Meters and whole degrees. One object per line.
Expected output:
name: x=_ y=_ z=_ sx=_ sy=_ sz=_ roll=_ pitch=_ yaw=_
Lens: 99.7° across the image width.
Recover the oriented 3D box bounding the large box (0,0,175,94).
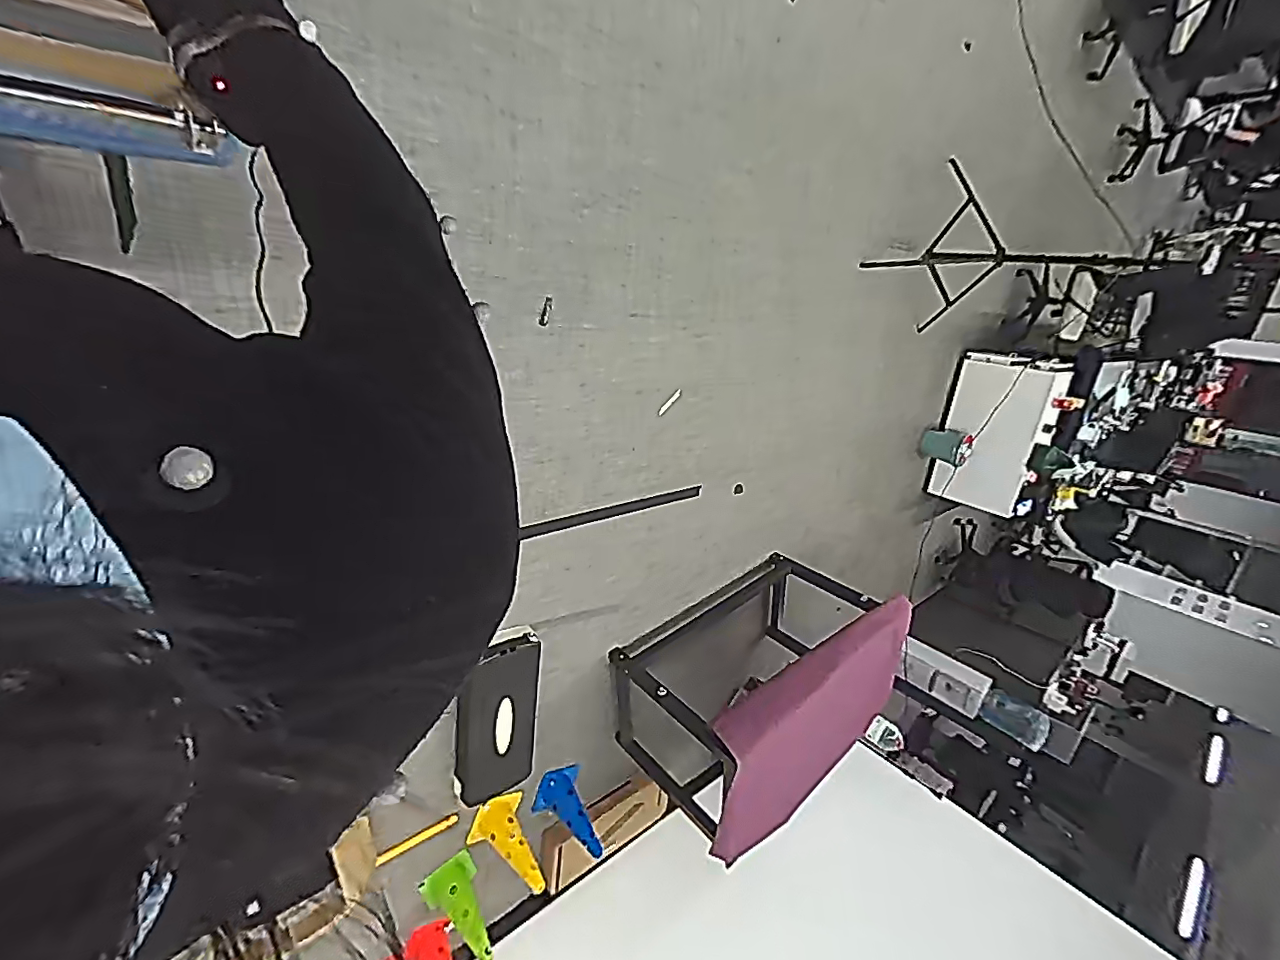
large box: x=-0.812 y=-0.684 z=0.594 sx=0.408 sy=0.320 sz=0.320 roll=-13 pitch=116 yaw=-40
